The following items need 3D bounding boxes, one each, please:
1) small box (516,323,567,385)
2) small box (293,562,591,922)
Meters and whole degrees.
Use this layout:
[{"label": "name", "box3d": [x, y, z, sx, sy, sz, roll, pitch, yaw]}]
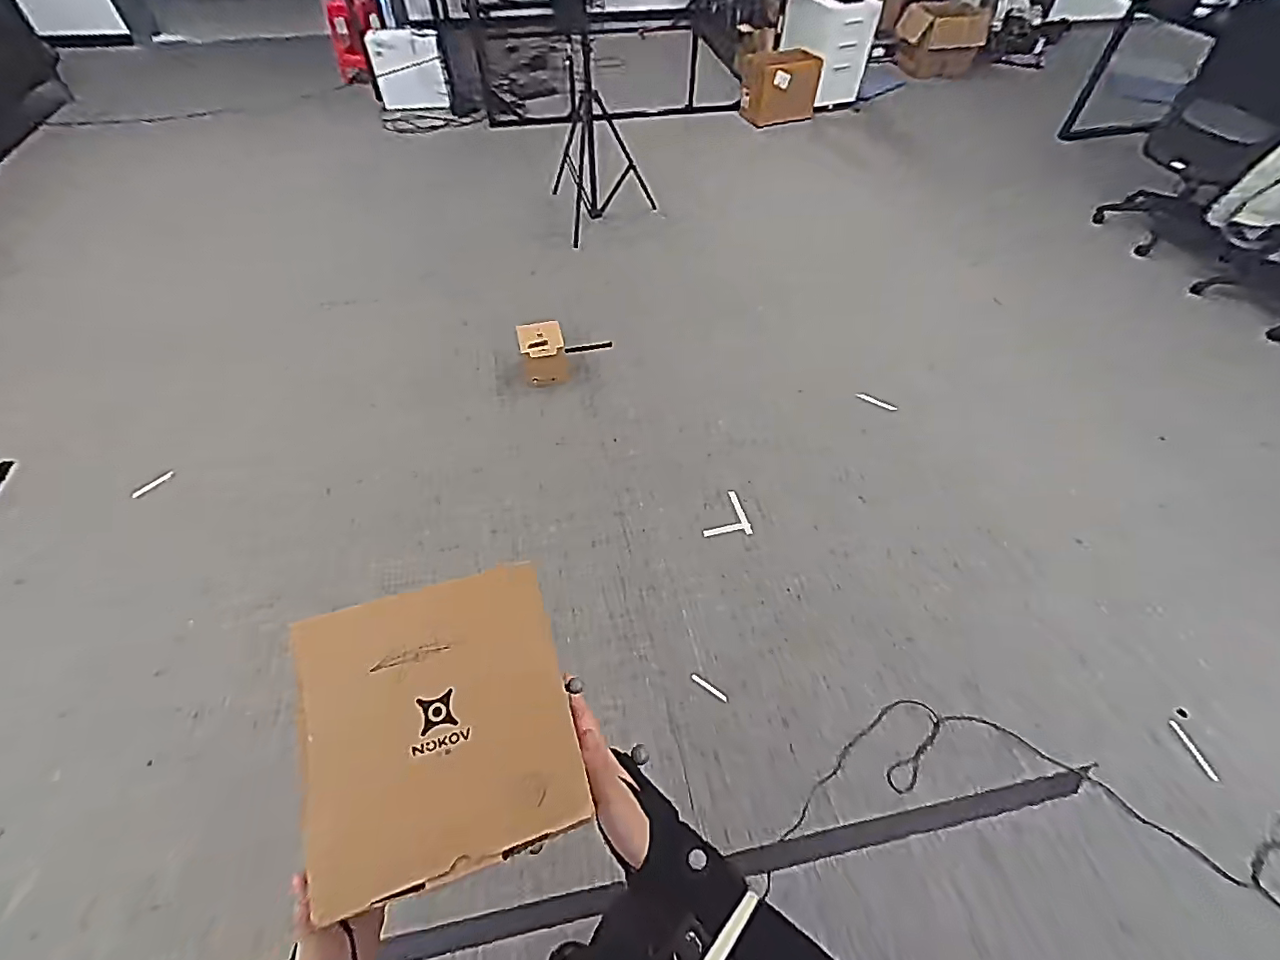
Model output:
[{"label": "small box", "box3d": [-0.387, -0.491, 2.142, 0.168, 0.176, 0.179, -11, 53, -9]}, {"label": "small box", "box3d": [-0.140, 0.187, 0.423, 0.168, 0.176, 0.179, -14, 67, -15]}]
